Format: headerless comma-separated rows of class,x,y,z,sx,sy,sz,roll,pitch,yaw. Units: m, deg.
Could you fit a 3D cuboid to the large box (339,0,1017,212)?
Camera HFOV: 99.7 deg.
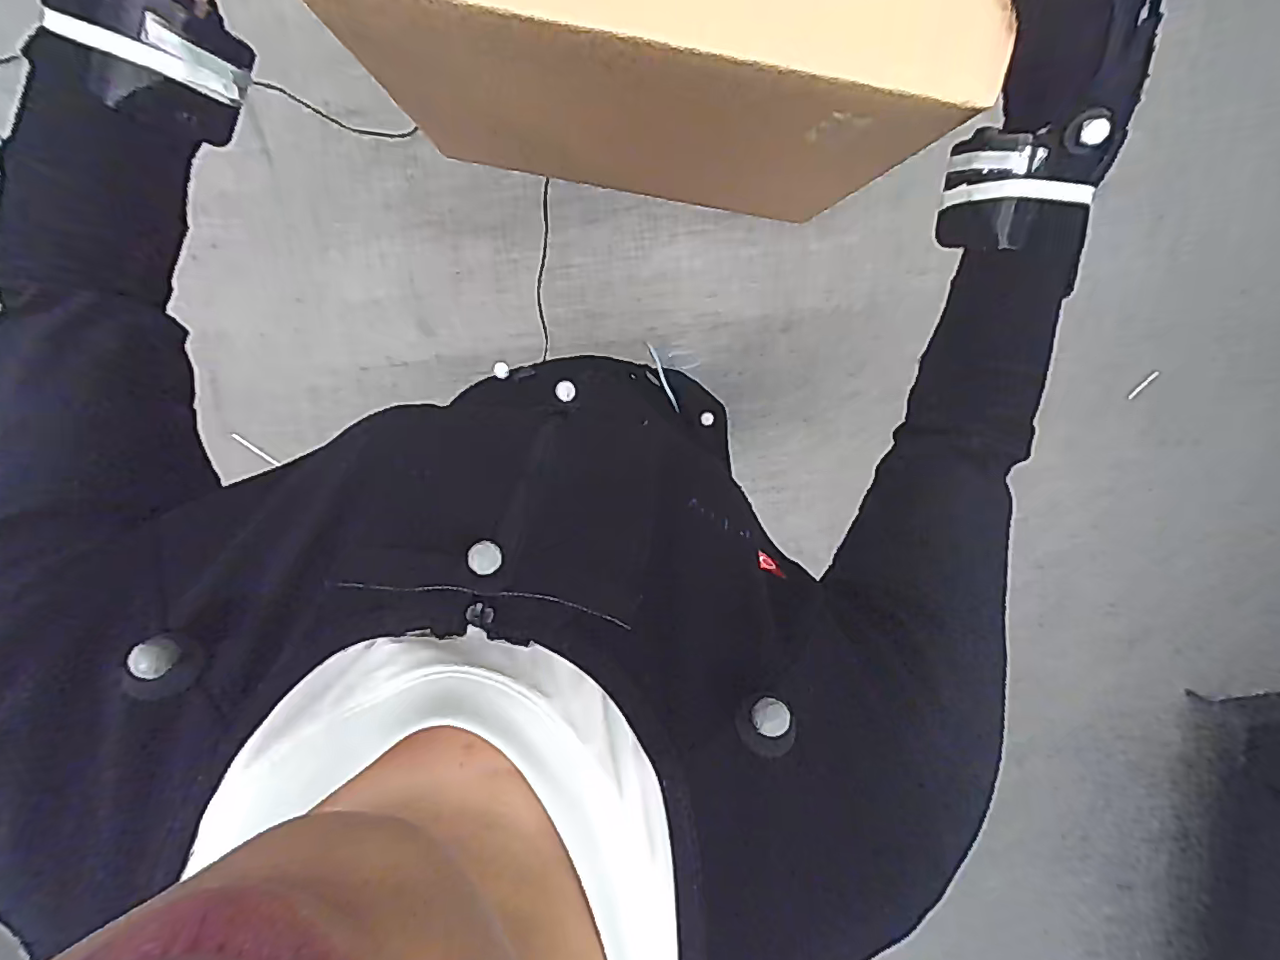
large box,0.025,-0.432,0.415,0.408,0.320,0.320,7,104,-6
